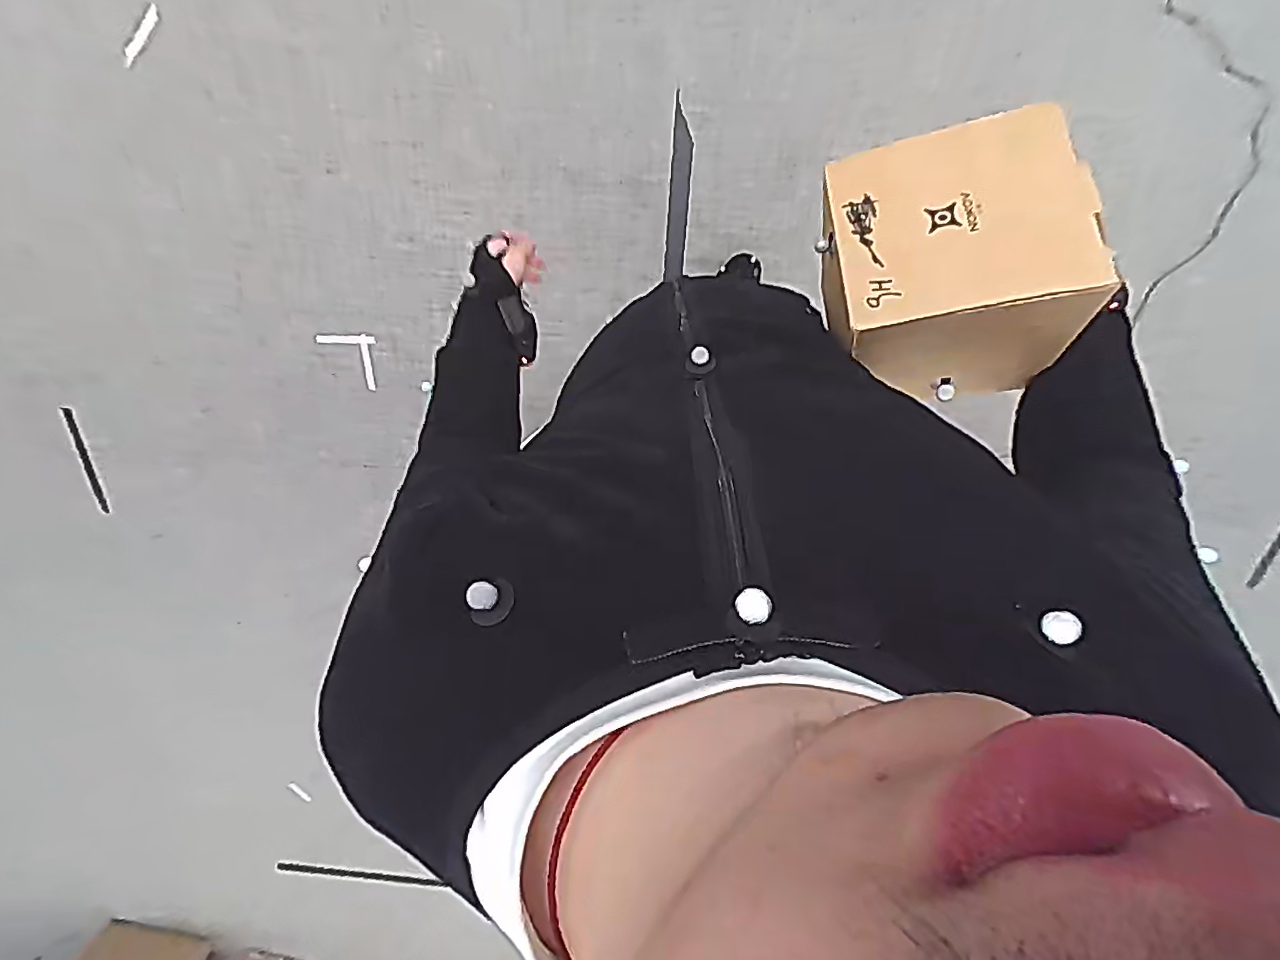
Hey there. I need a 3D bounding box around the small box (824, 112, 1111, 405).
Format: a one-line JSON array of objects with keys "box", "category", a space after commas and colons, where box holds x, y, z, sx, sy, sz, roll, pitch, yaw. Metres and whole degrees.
[{"box": [0.274, -0.185, 0.503, 0.179, 0.176, 0.168, -7, 72, 16], "category": "small box"}]
